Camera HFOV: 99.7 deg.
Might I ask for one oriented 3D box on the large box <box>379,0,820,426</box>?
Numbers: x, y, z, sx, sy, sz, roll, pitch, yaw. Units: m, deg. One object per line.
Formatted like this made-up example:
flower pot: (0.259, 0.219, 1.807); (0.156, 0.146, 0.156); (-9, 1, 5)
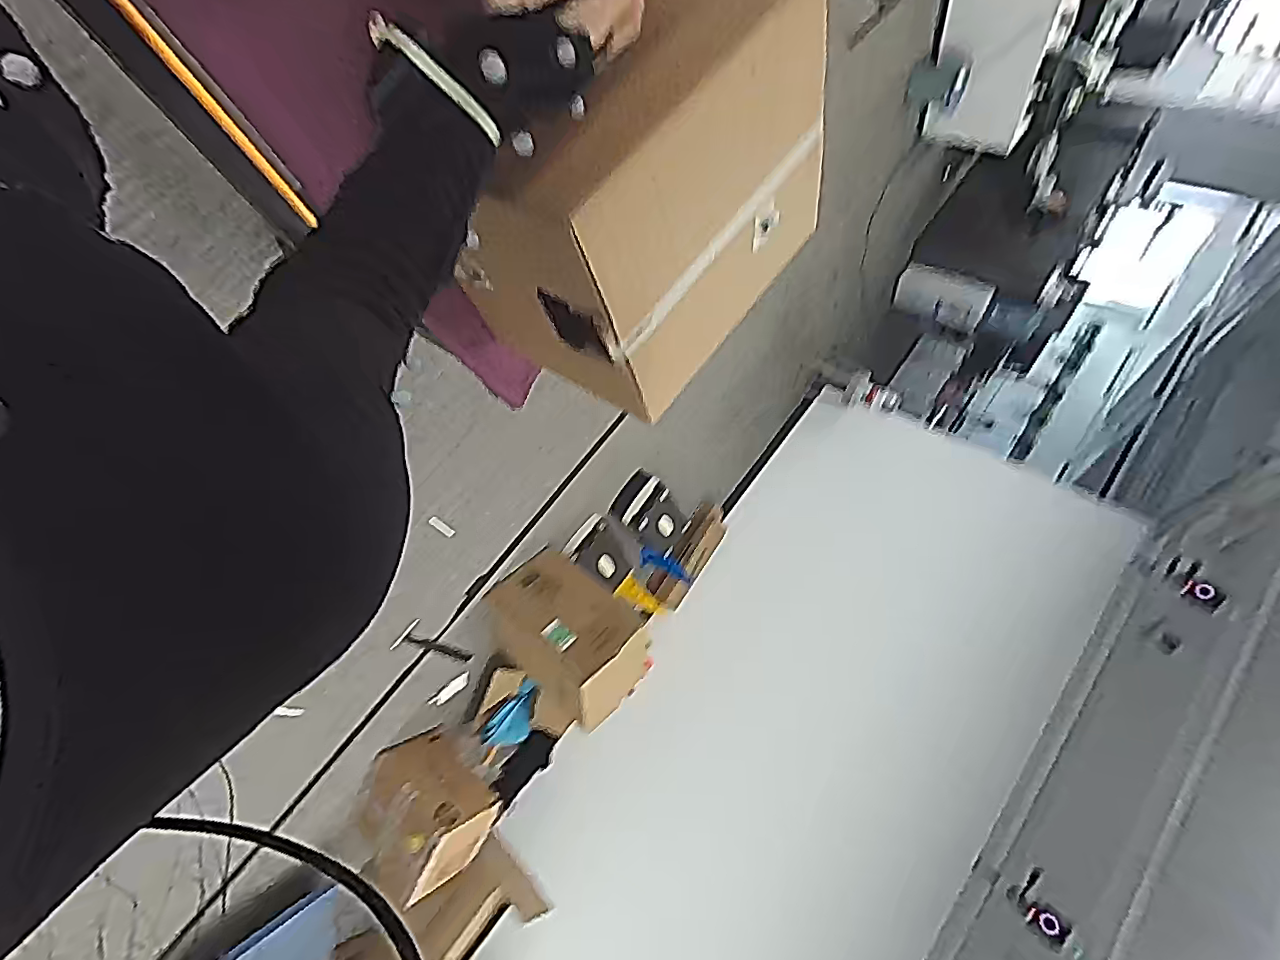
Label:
large box: (-0.021, -0.354, 0.683); (0.408, 0.320, 0.320); (-52, 153, -14)
